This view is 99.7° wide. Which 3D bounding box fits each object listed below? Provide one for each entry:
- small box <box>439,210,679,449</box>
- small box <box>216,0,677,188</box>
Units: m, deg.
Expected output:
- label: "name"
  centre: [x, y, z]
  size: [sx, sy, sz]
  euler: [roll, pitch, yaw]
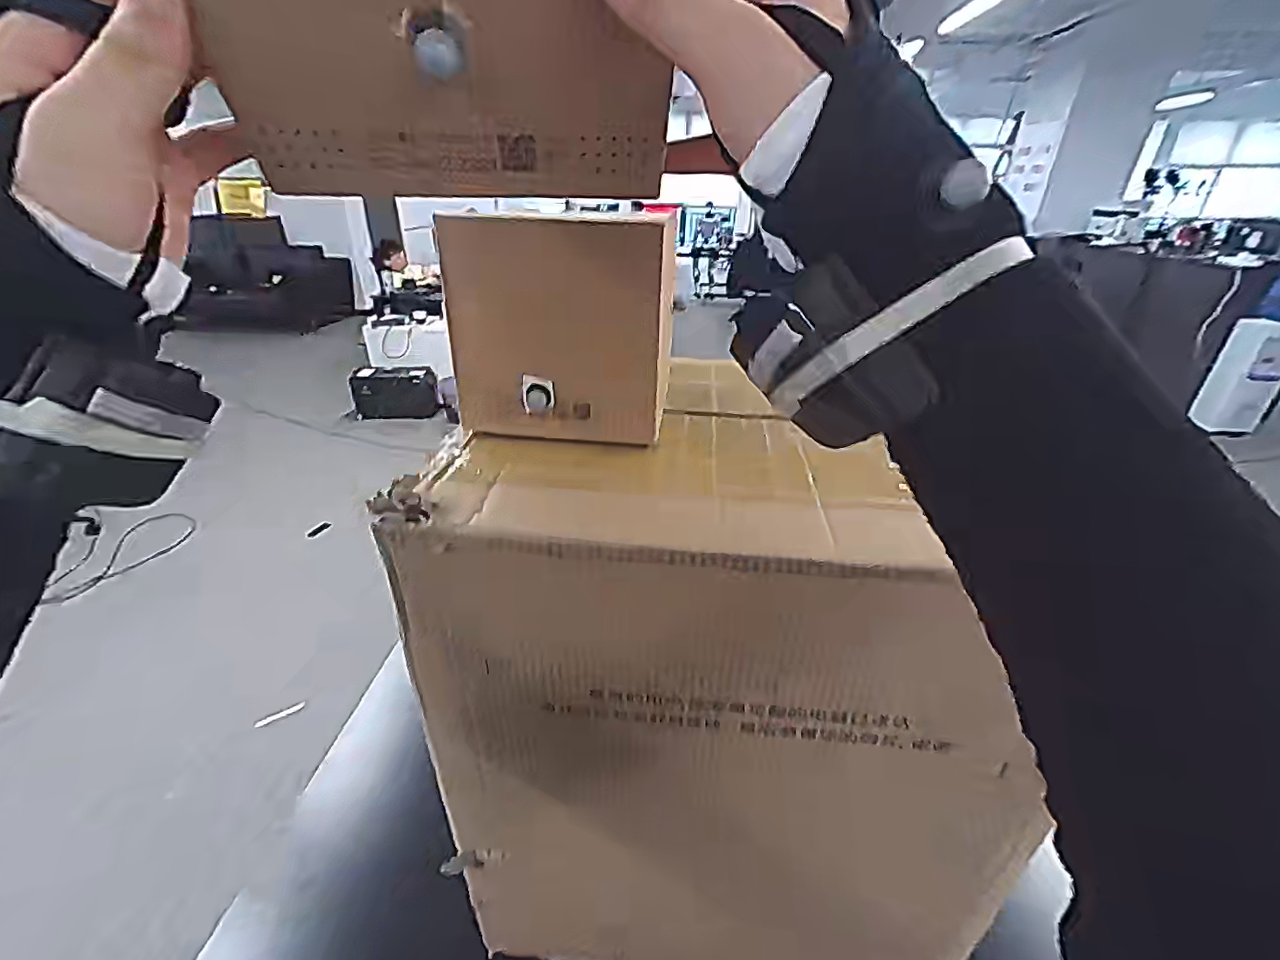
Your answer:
- label: "small box"
  centre: [-0.055, -0.141, 0.479]
  size: [0.168, 0.176, 0.179]
  euler: [3, 28, 4]
- label: "small box"
  centre: [-0.073, -0.245, 0.215]
  size: [0.168, 0.176, 0.179]
  euler: [-3, 56, -6]
